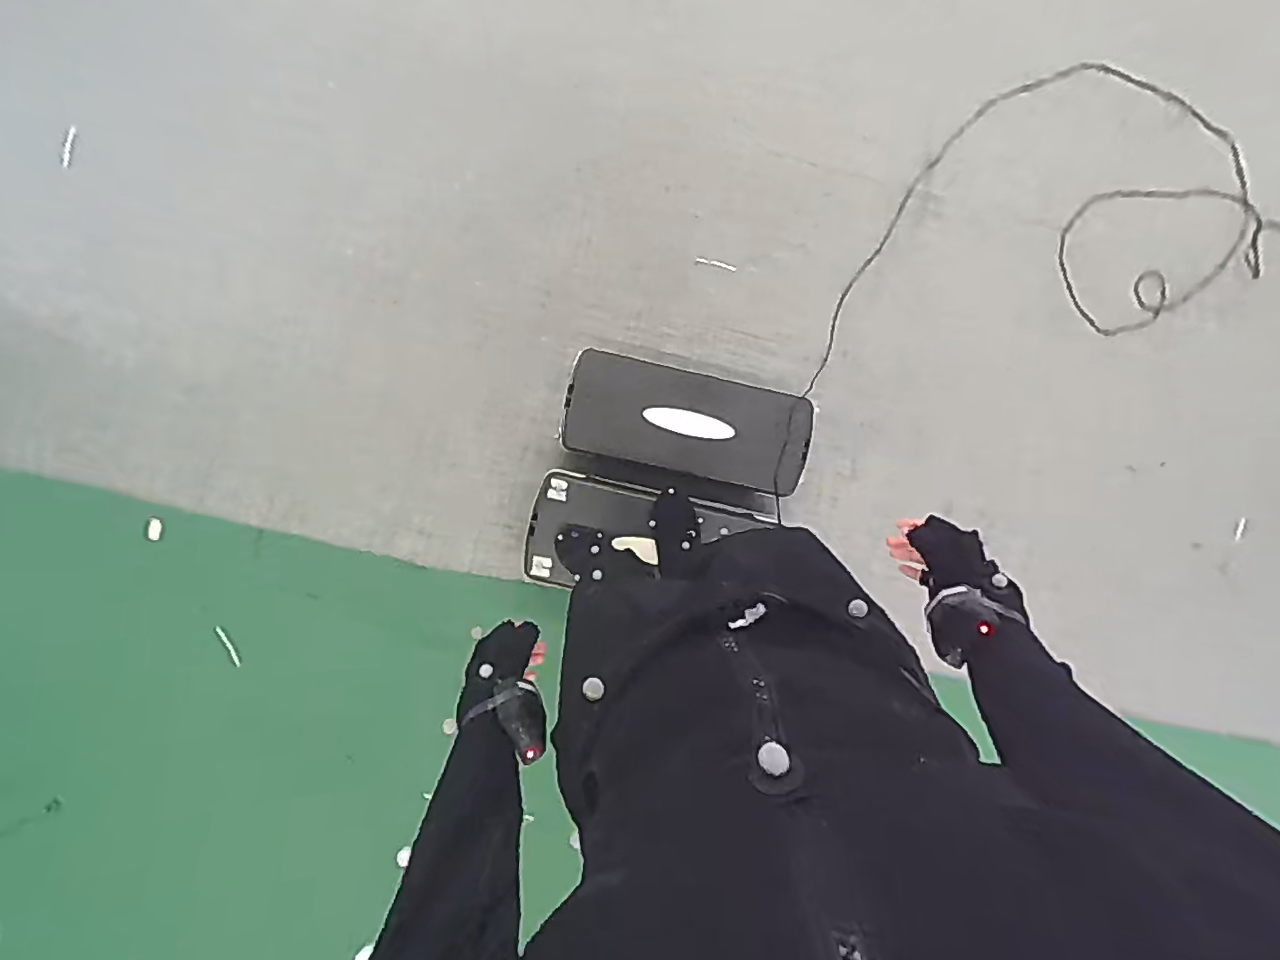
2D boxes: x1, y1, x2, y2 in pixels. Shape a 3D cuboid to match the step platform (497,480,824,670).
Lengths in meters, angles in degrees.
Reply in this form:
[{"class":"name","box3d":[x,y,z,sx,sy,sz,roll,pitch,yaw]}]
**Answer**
[{"class":"step platform","box3d":[0.043,0.204,1.225,0.684,0.204,0.286,13,90,-4]}]
